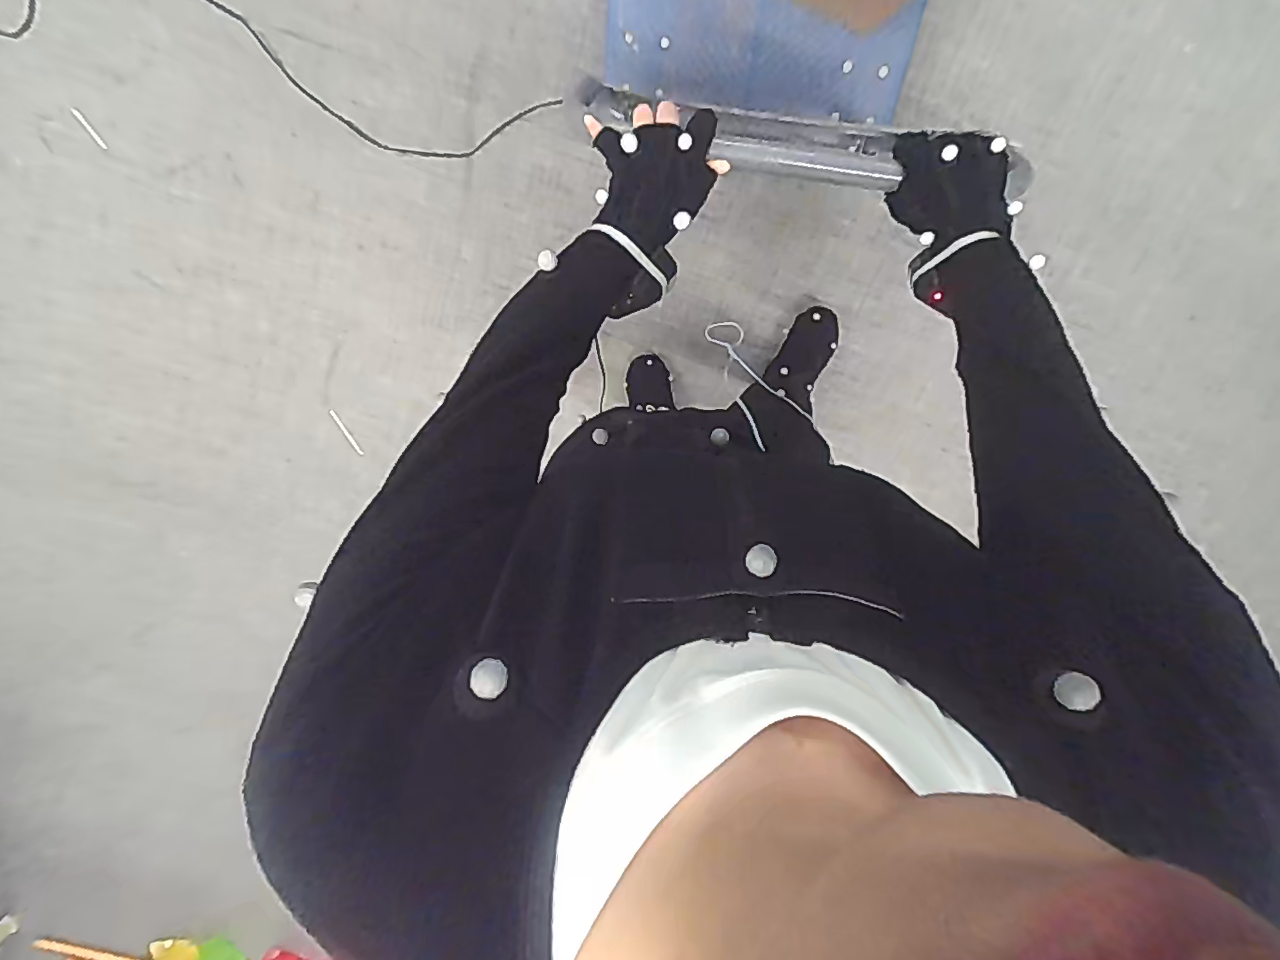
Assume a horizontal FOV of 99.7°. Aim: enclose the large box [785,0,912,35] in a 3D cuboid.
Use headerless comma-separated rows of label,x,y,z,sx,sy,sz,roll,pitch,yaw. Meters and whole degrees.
large box,0.278,-0.943,0.791,0.408,0.320,0.320,21,118,-6
